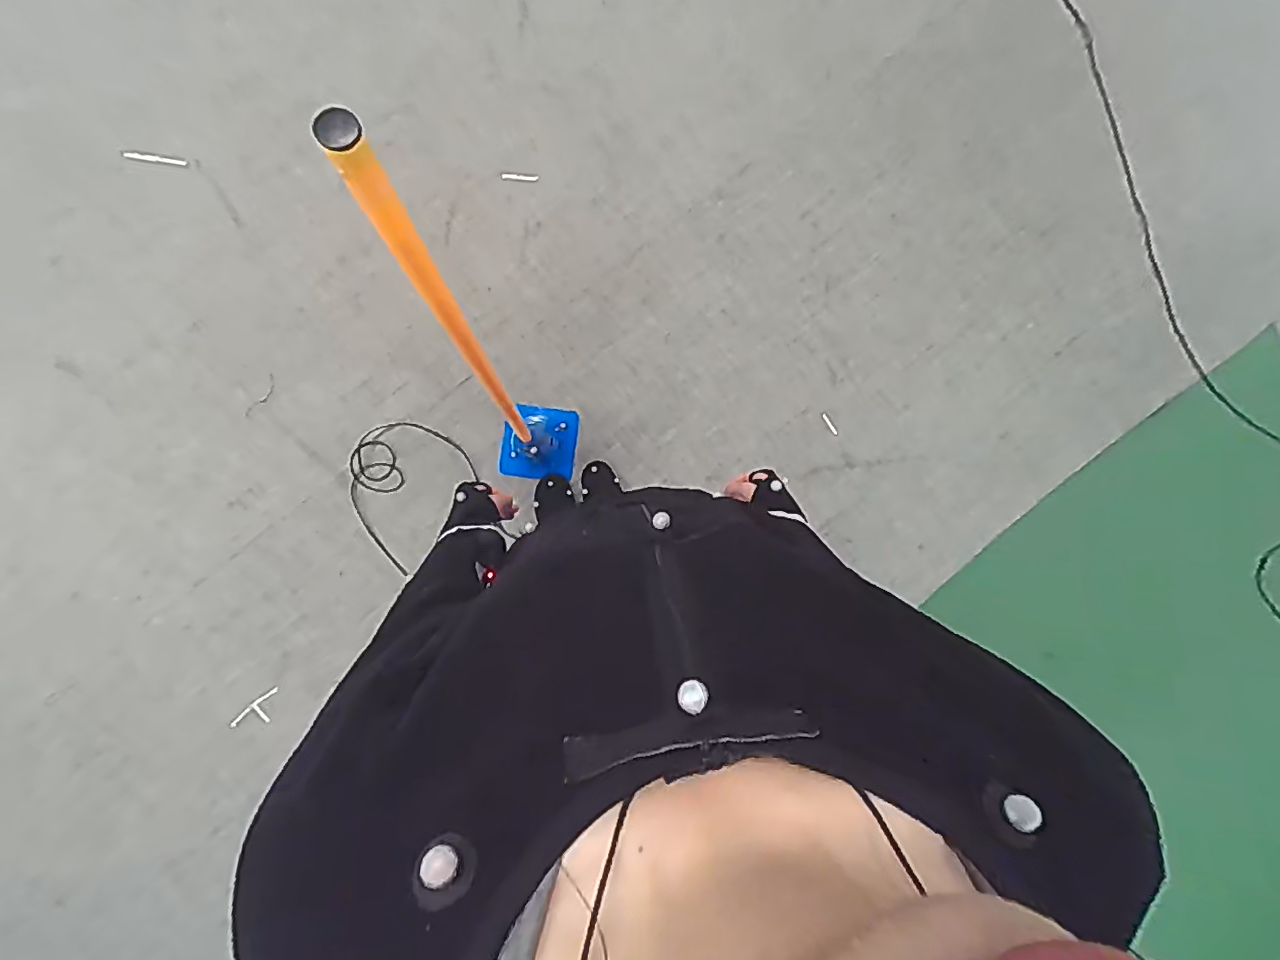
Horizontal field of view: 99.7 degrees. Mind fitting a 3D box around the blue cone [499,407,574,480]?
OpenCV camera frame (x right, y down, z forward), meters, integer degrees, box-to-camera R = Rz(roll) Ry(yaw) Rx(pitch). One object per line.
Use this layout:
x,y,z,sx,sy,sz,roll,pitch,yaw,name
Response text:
-0.257,-0.096,1.285,0.192,0.380,0.193,6,90,-7,blue cone
